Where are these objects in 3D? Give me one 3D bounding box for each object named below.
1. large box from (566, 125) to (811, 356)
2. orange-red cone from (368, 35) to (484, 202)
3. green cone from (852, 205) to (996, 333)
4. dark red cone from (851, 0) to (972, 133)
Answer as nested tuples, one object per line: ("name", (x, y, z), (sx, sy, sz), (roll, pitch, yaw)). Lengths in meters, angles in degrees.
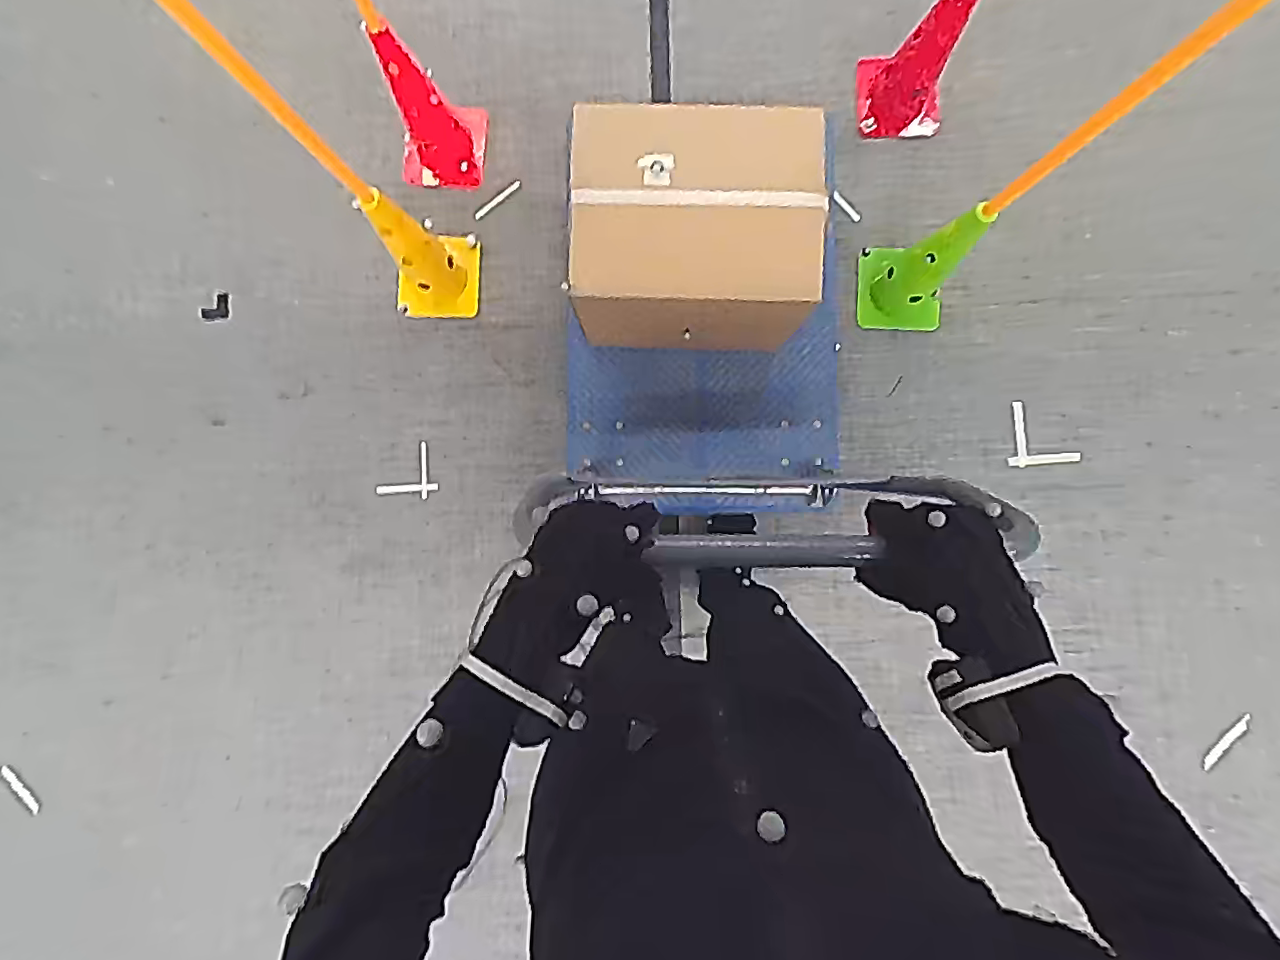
("large box", (0.084, -0.421, 1.028), (0.408, 0.320, 0.320), (1, 88, 2))
("orange-red cone", (-0.501, -0.820, 1.201), (0.198, 0.360, 0.199), (5, 86, 0))
("green cone", (0.624, -0.470, 1.163), (0.202, 0.368, 0.200), (2, 88, 0))
("dark red cone", (0.625, -0.955, 1.166), (0.201, 0.394, 0.202), (-2, 88, -1))
